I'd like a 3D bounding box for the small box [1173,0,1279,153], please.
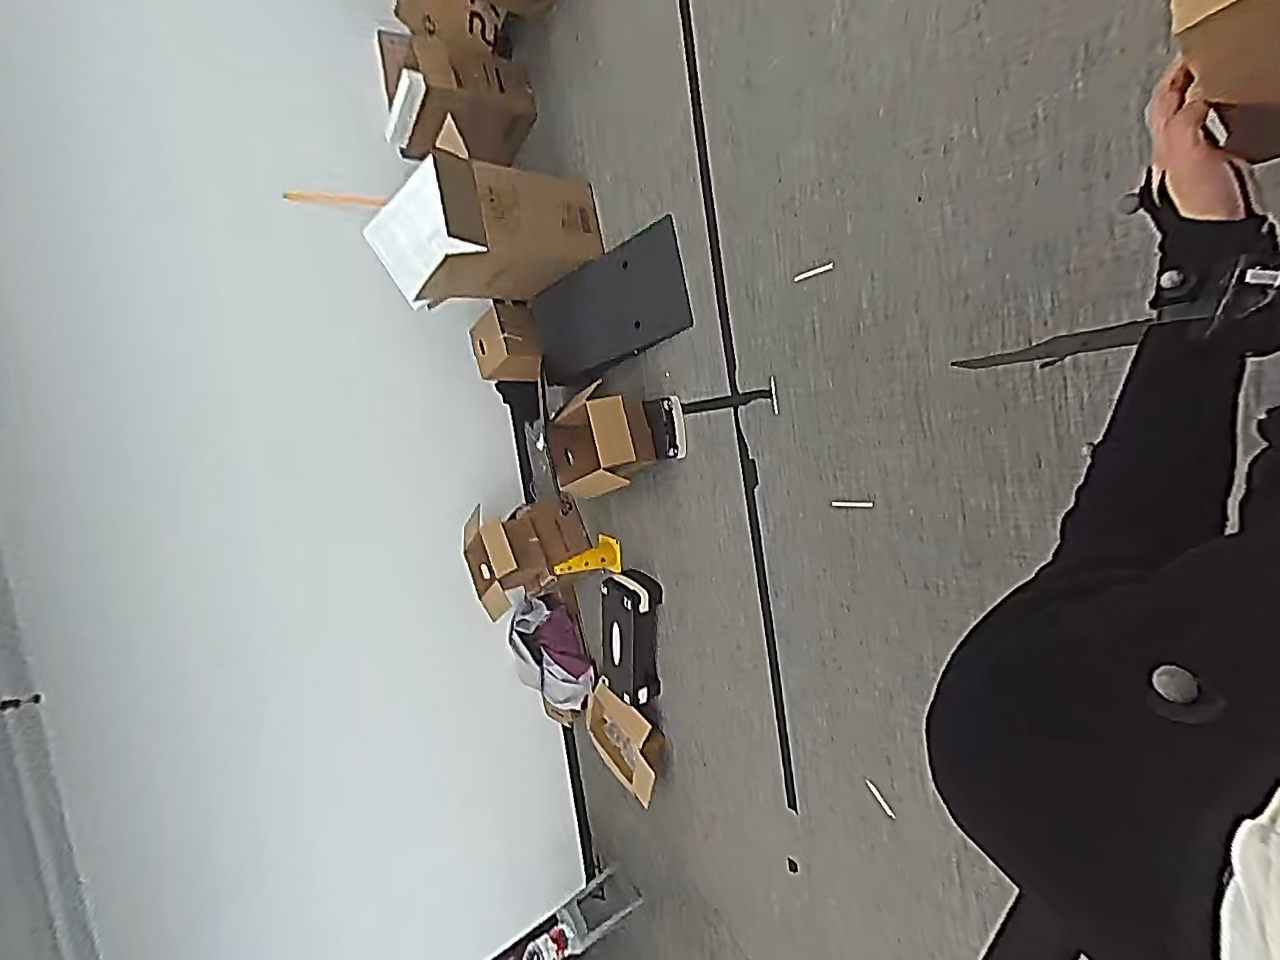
[{"bbox_3d":[0.446,-0.341,0.309,0.168,0.176,0.179,-4,75,59],"label":"small box"}]
